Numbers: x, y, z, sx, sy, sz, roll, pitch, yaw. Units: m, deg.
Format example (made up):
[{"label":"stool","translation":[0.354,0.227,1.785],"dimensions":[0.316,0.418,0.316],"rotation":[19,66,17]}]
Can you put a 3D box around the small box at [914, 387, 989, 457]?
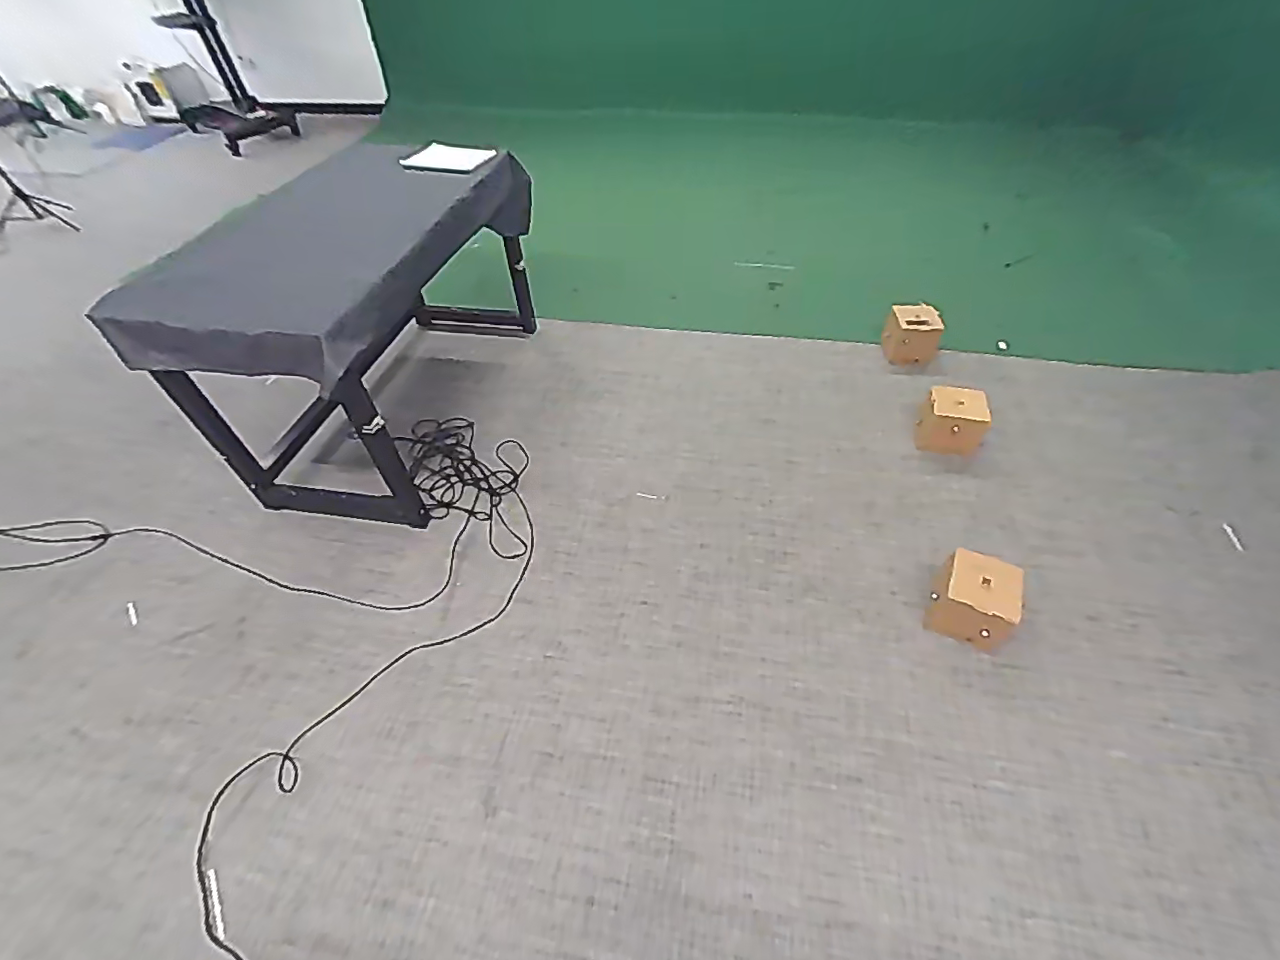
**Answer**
[{"label":"small box","translation":[1.080,-0.201,1.886],"dimensions":[0.179,0.176,0.168],"rotation":[9,49,12]}]

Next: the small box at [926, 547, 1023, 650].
[{"label":"small box","translation":[0.877,0.316,1.426],"dimensions":[0.168,0.176,0.179],"rotation":[20,51,18]}]
